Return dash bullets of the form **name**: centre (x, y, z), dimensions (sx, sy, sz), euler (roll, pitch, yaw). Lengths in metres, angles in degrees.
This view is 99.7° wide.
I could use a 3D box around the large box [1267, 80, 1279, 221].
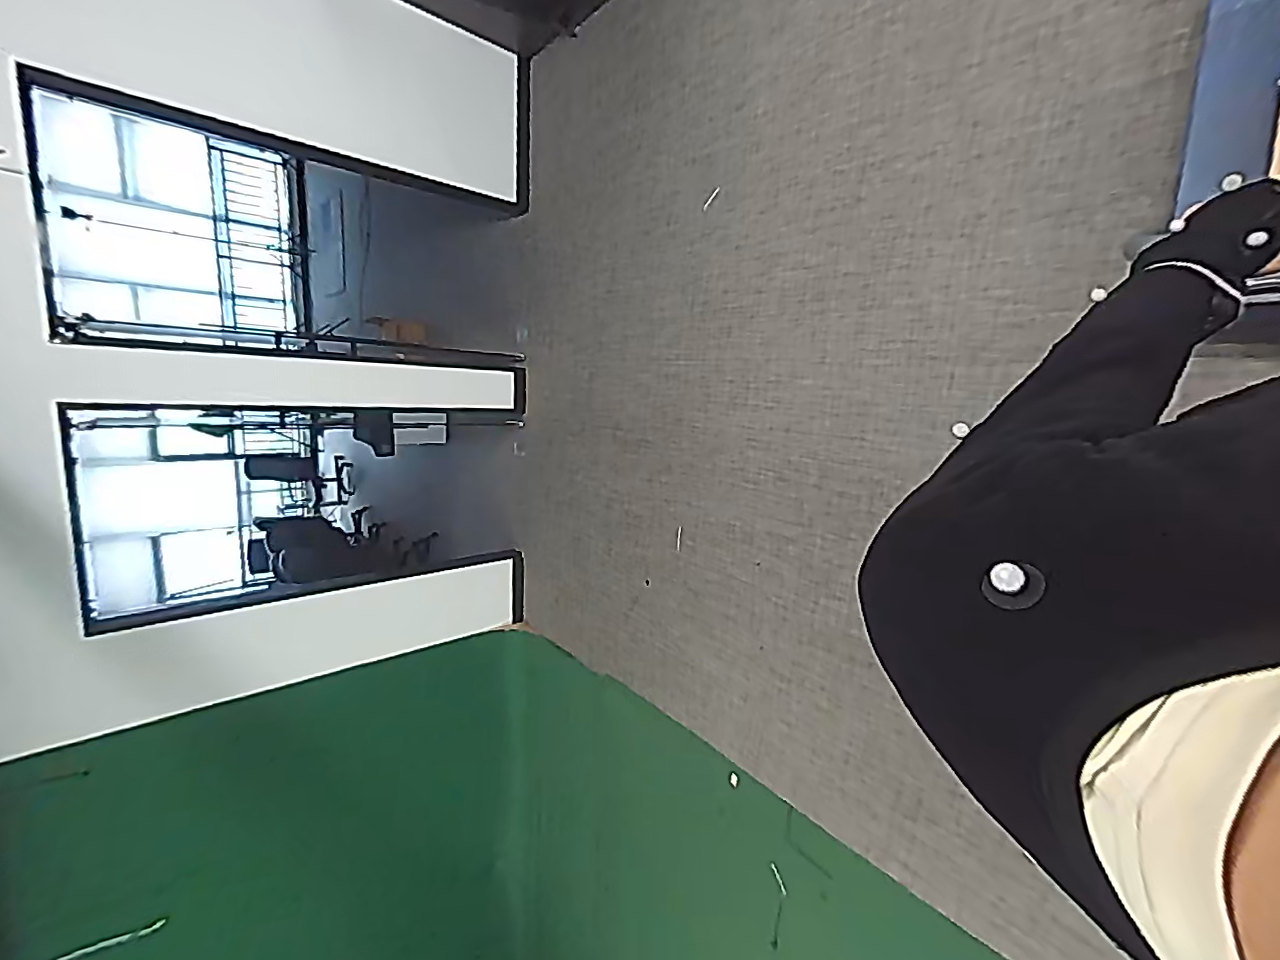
- **large box**: centre (1.118, -0.618, 0.730), dimensions (0.320, 0.320, 0.408), euler (10, 102, 49)
